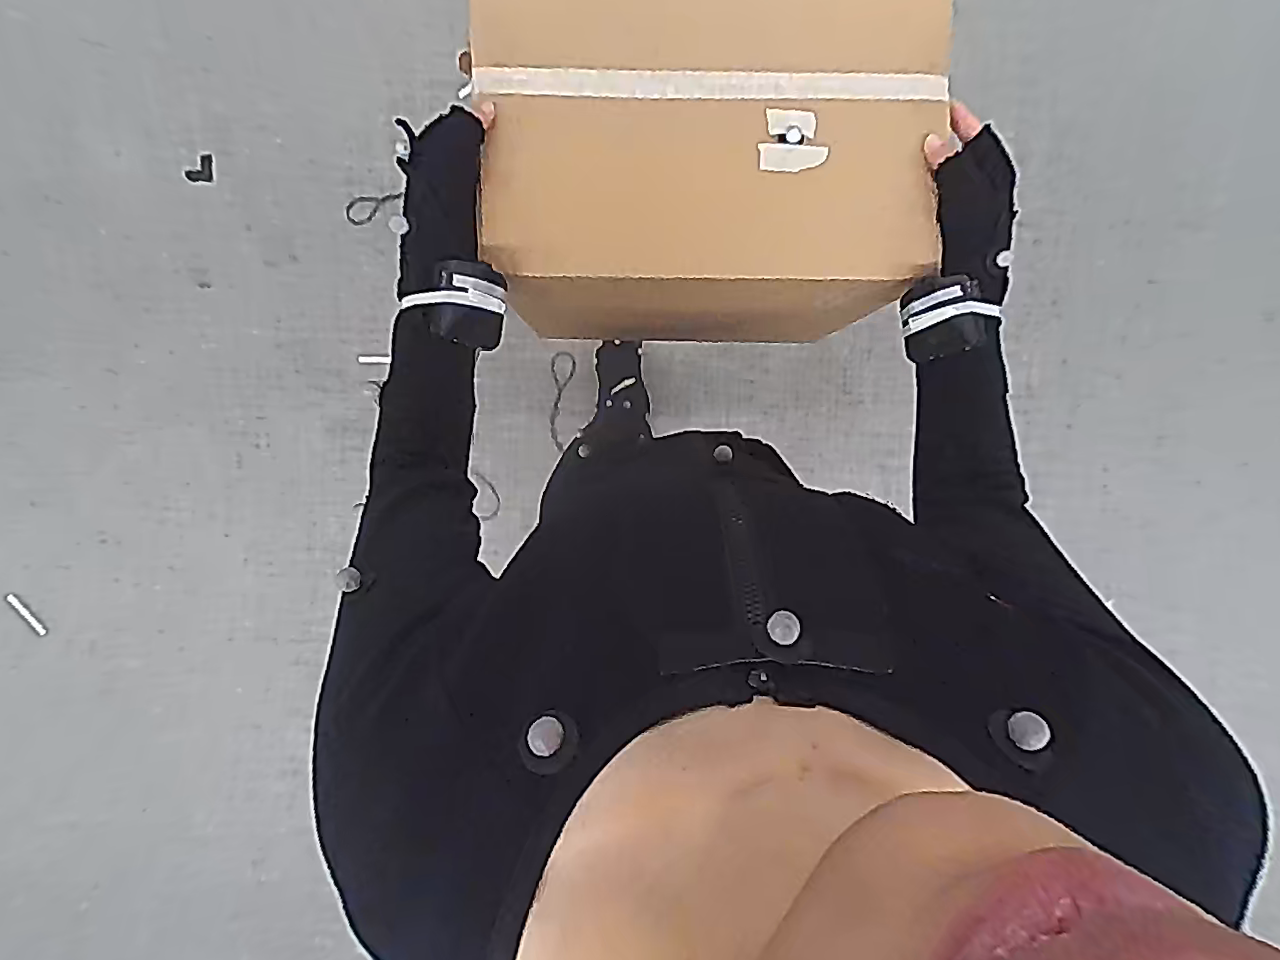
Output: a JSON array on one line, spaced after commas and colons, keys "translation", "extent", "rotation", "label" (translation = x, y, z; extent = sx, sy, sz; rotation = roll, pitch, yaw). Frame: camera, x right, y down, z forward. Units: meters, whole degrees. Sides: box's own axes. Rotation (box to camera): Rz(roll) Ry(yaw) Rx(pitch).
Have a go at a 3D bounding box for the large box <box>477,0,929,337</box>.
[{"translation": [0.051, -0.353, 0.627], "extent": [0.408, 0.320, 0.320], "rotation": [0, 95, -2], "label": "large box"}]
